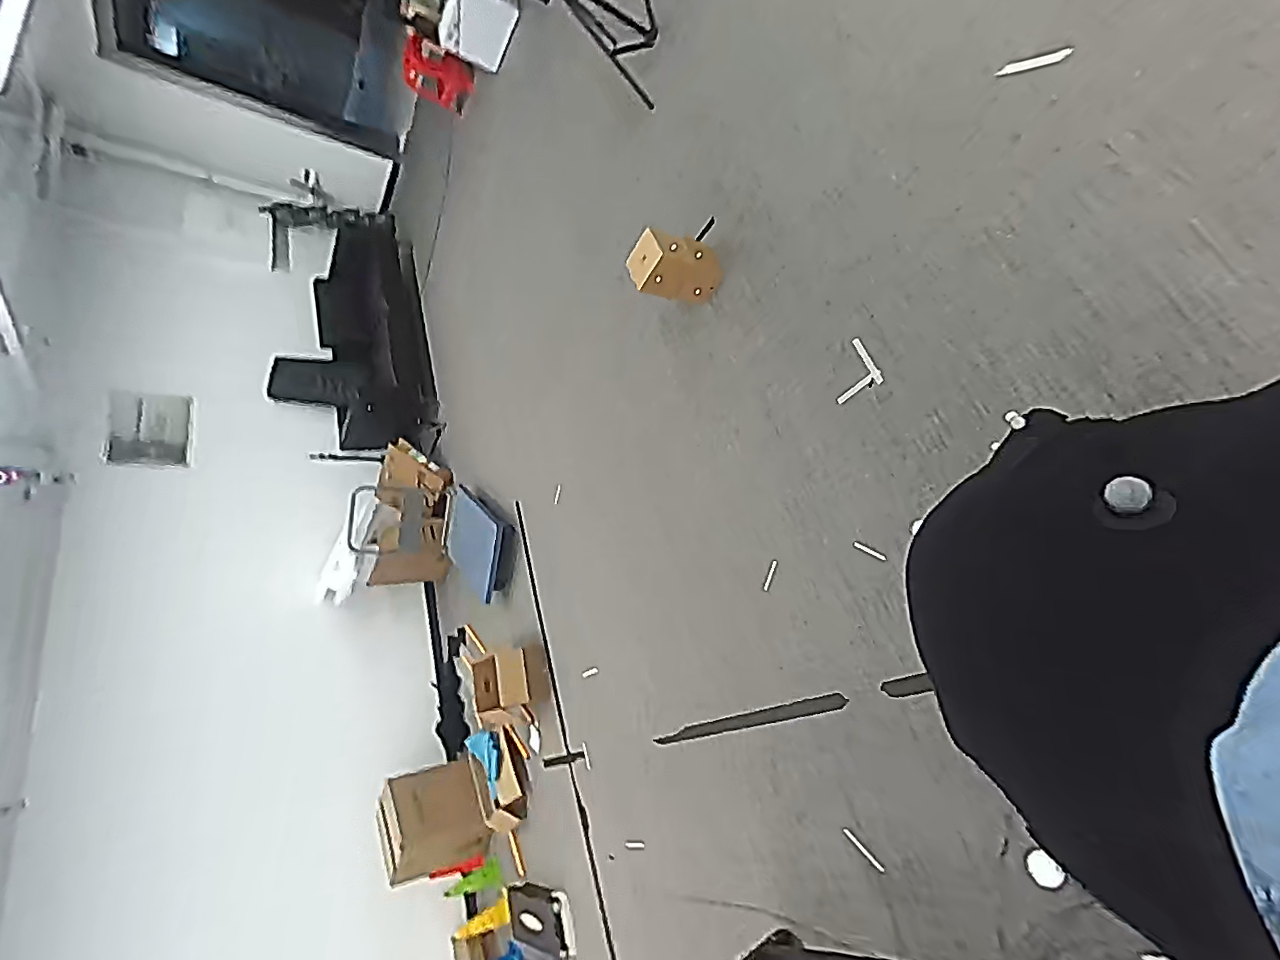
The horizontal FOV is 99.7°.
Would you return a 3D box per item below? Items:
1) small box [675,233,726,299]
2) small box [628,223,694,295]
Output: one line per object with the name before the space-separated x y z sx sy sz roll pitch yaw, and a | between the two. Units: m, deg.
small box | 0.218 -0.852 2.173 0.168 0.176 0.179 -37 60 45
small box | 0.088 -0.844 2.075 0.179 0.176 0.168 -48 53 41
